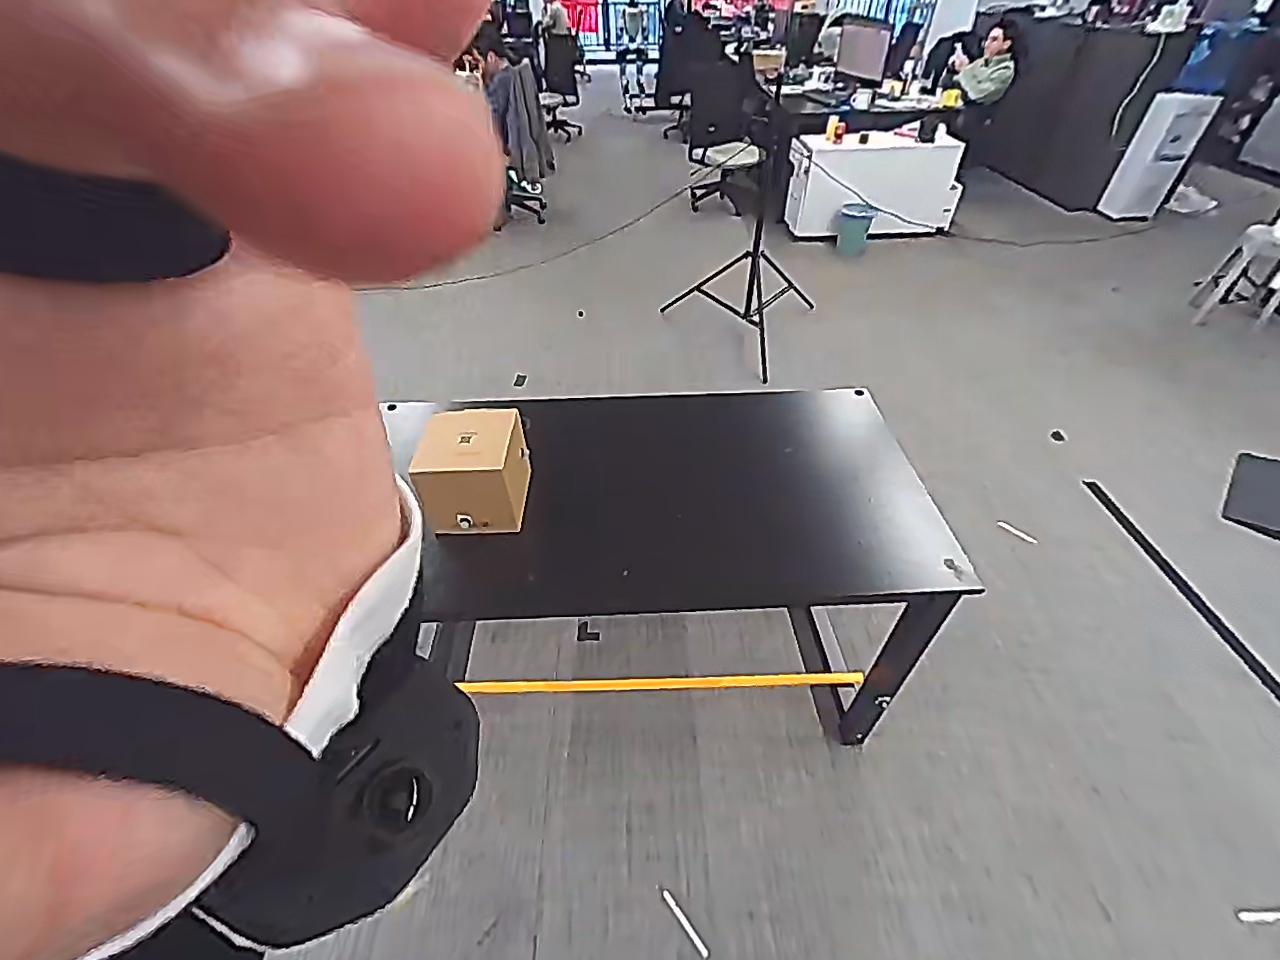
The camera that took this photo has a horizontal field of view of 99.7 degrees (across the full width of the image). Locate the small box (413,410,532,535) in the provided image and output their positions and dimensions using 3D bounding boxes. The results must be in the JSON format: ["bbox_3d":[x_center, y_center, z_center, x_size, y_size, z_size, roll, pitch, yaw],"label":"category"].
[{"bbox_3d":[-0.305,-0.014,1.031,0.168,0.176,0.179,-3,45,0],"label":"small box"}]
